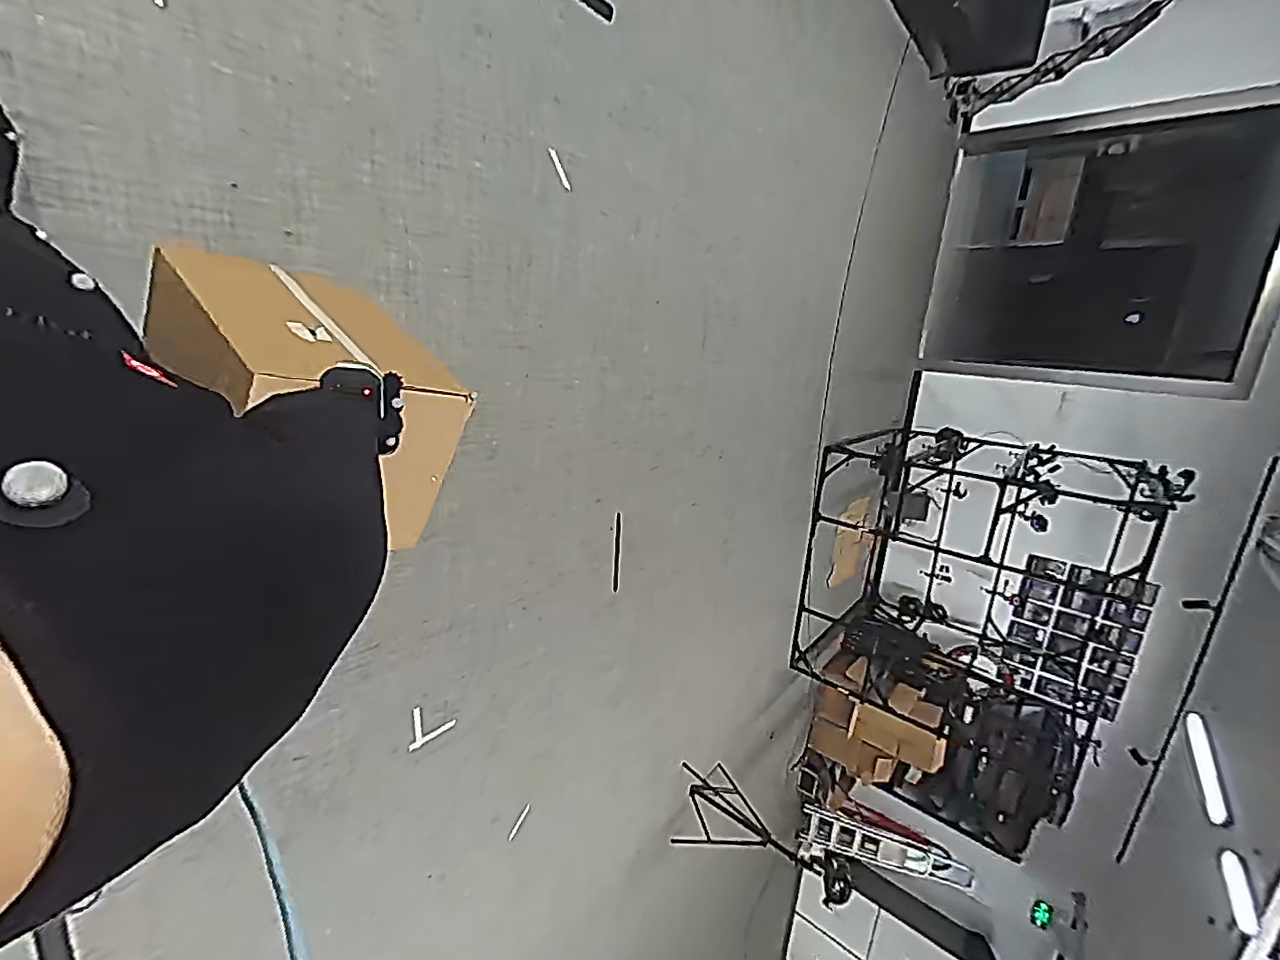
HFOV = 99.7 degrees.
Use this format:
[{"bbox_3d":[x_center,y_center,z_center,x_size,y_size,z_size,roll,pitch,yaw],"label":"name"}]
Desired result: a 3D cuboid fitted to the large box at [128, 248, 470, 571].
[{"bbox_3d":[-0.569,-0.114,0.895,0.320,0.408,0.320,-5,130,-56],"label":"large box"}]
